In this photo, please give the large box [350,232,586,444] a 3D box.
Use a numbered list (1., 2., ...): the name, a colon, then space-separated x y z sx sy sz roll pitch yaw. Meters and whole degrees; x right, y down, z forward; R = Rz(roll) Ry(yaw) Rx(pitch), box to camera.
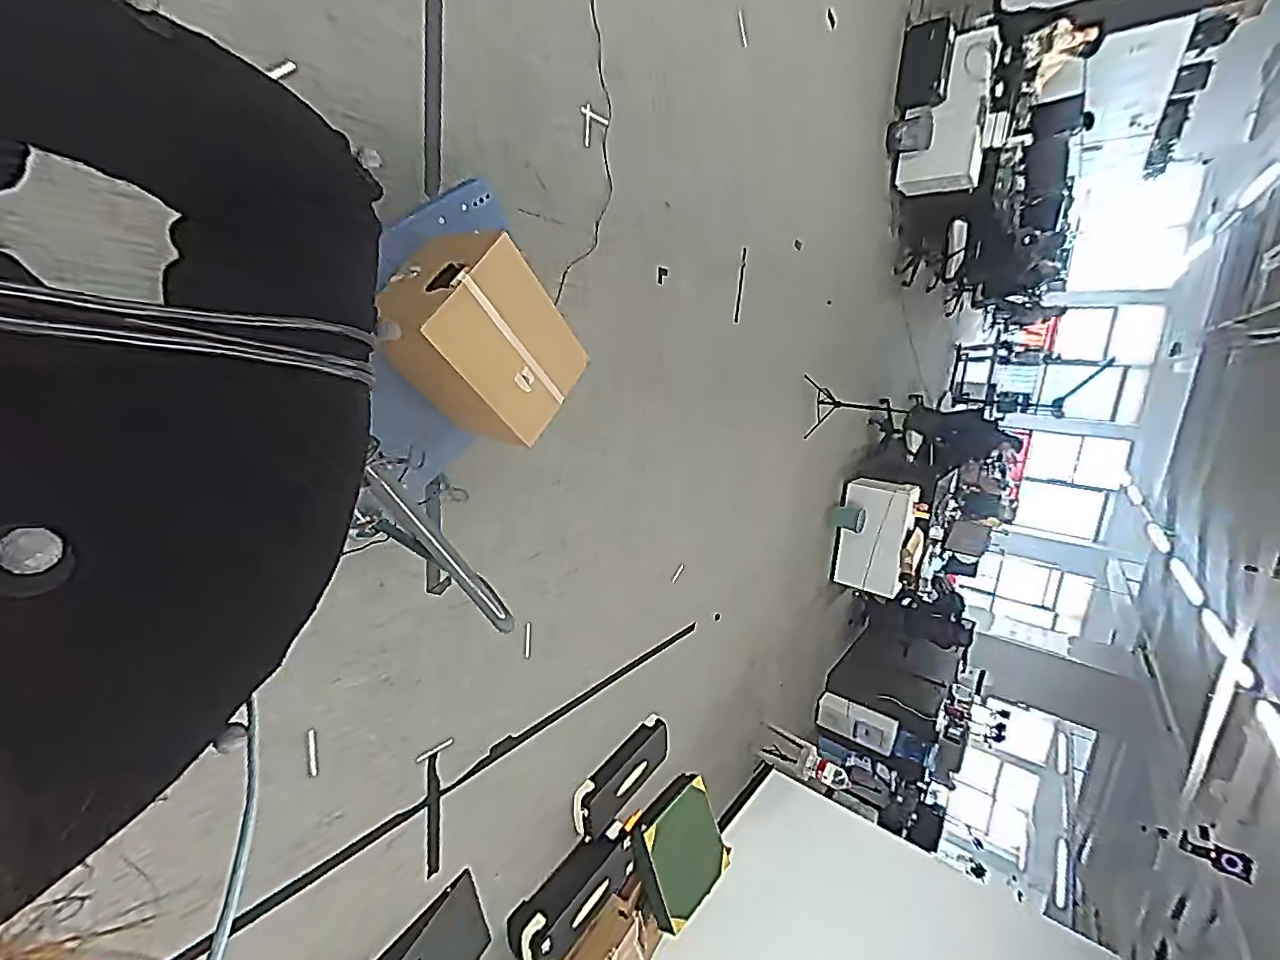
1. large box: -0.415 -0.348 1.361 0.320 0.320 0.408 -59 141 -21
